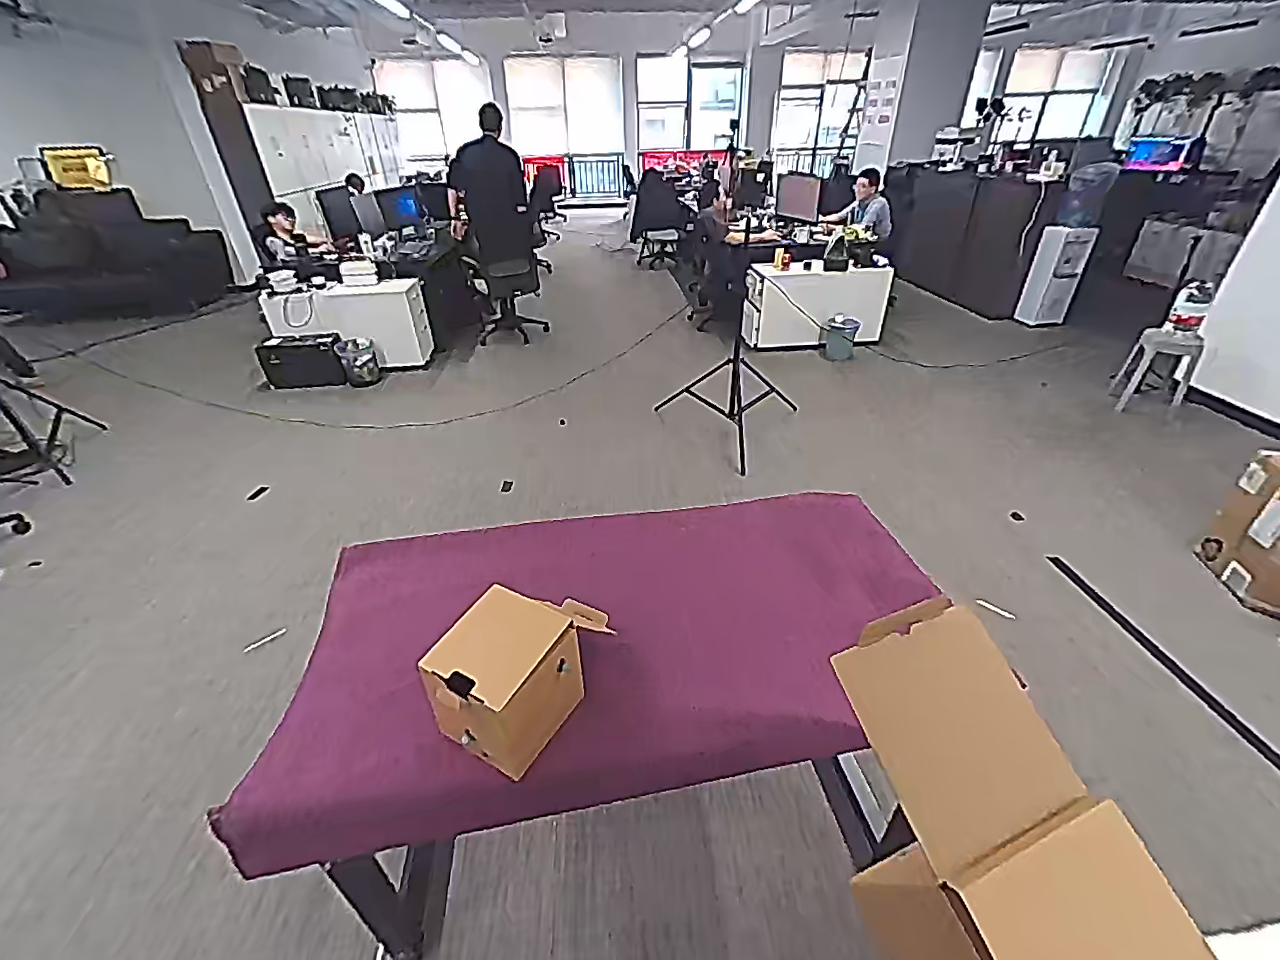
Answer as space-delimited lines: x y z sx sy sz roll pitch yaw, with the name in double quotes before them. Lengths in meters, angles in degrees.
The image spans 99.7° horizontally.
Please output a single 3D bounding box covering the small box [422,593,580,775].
"small box" -0.209 0.318 0.862 0.168 0.176 0.179 15 36 27
